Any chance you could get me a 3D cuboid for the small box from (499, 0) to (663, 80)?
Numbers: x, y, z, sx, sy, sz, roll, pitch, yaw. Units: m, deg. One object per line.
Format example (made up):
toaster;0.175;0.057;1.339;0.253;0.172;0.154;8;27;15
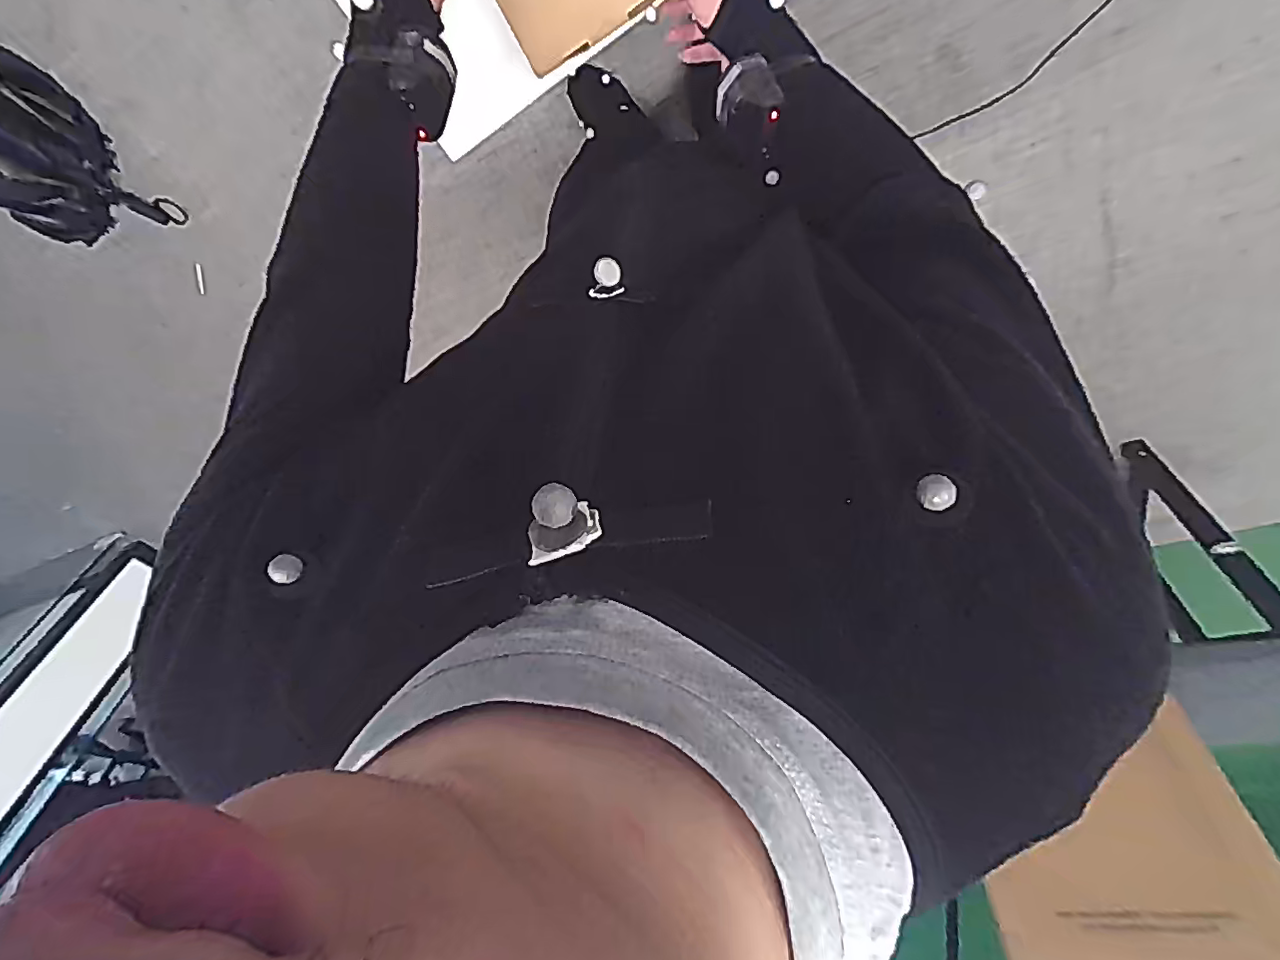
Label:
small box;-0.061;-0.538;0.524;0.168;0.176;0.179;-20;128;22
